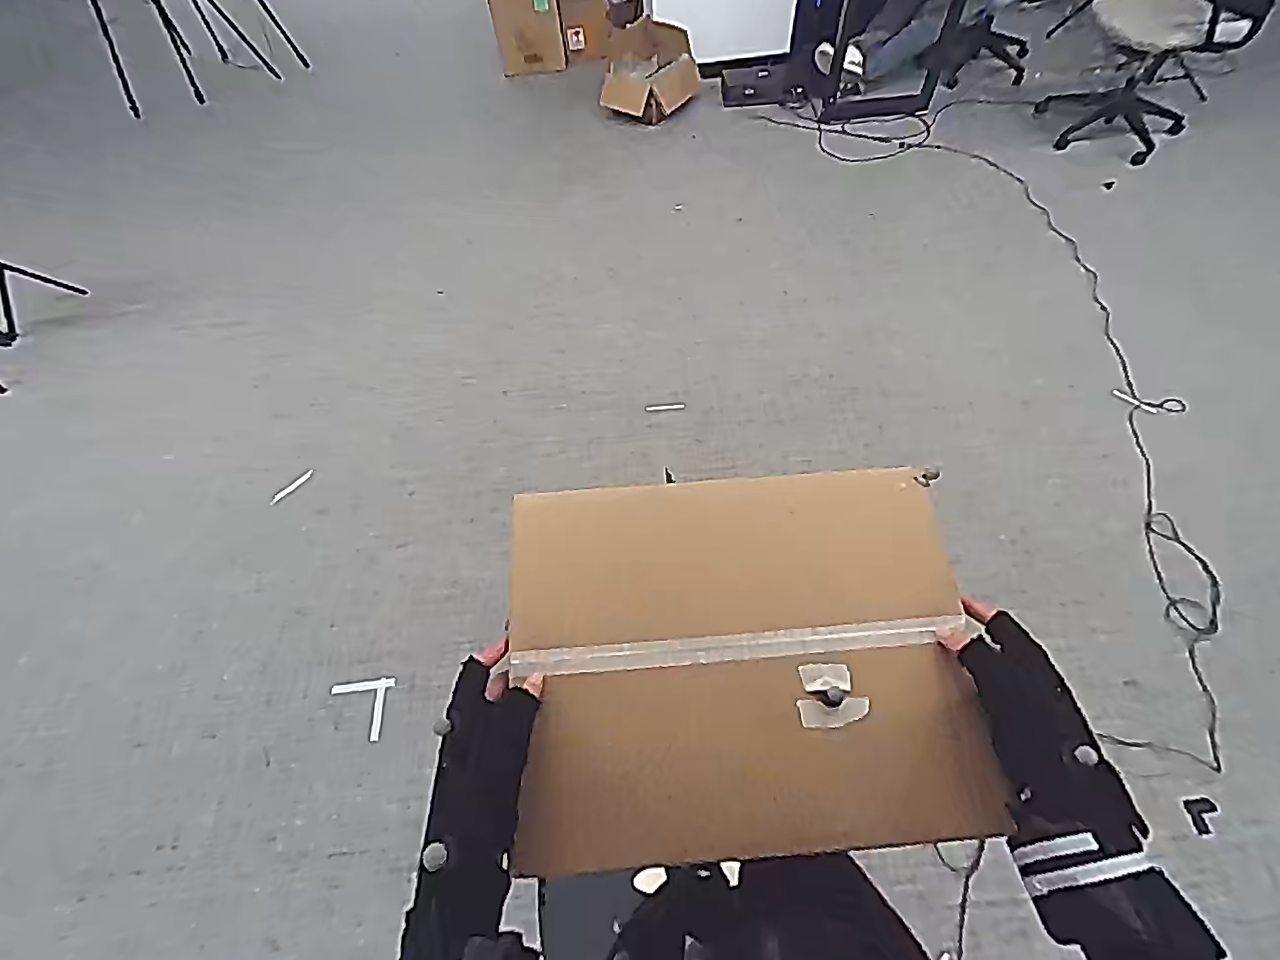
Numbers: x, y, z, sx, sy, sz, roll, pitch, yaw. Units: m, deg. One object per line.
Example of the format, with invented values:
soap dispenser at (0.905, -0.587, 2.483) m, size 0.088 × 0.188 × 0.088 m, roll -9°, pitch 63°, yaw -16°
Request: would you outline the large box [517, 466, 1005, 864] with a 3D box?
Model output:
large box at (0.087, 0.200, 0.625) m, size 0.408 × 0.320 × 0.320 m, roll -4°, pitch 69°, yaw -2°
